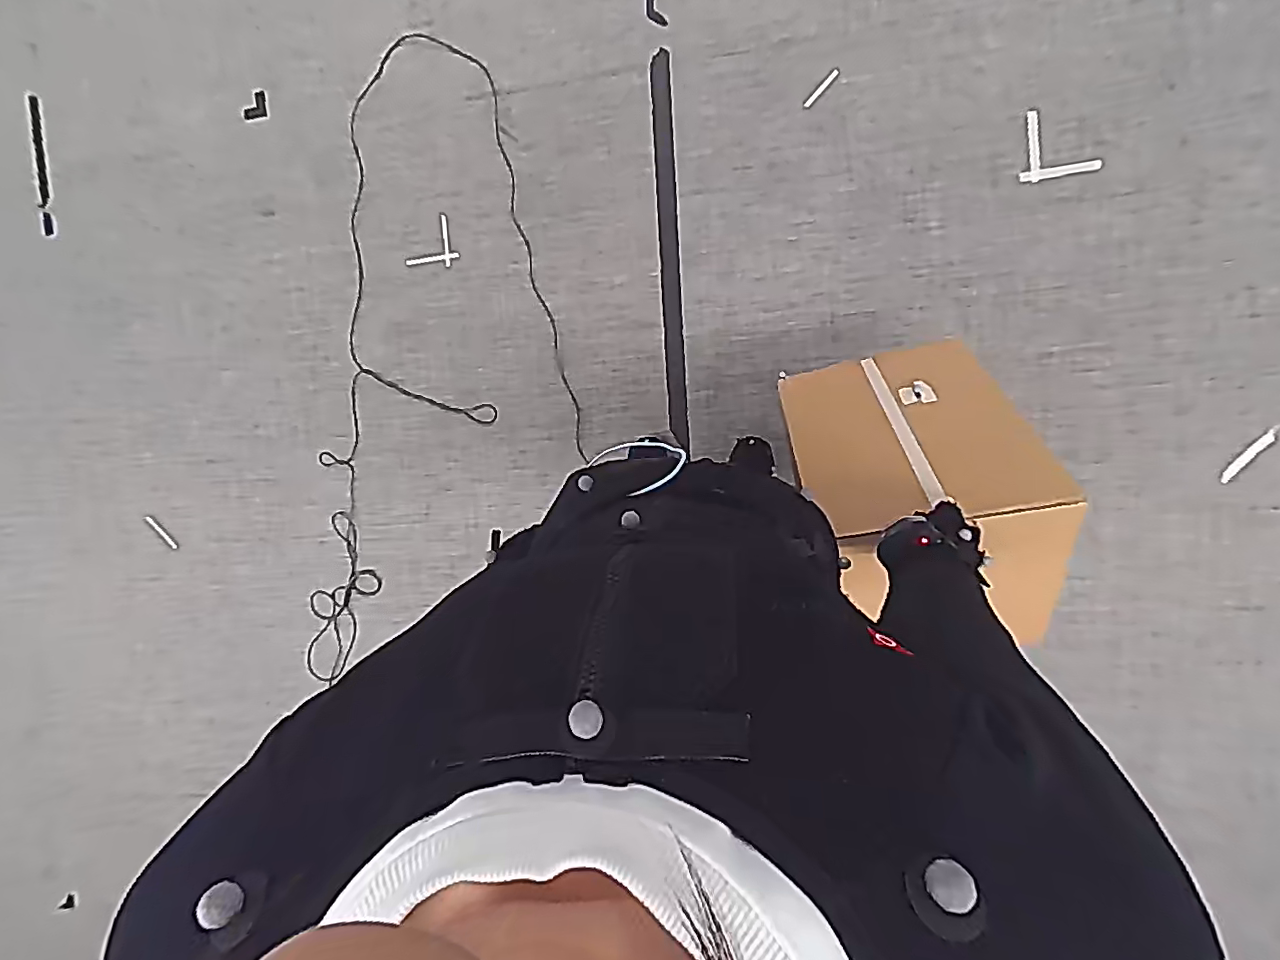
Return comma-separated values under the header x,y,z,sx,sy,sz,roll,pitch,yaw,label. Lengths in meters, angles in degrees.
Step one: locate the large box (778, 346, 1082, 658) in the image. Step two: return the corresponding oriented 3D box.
x,y,z,sx,sy,sz,roll,pitch,yaw,label
0.440,0.032,0.919,0.320,0.408,0.320,-10,129,13,large box
